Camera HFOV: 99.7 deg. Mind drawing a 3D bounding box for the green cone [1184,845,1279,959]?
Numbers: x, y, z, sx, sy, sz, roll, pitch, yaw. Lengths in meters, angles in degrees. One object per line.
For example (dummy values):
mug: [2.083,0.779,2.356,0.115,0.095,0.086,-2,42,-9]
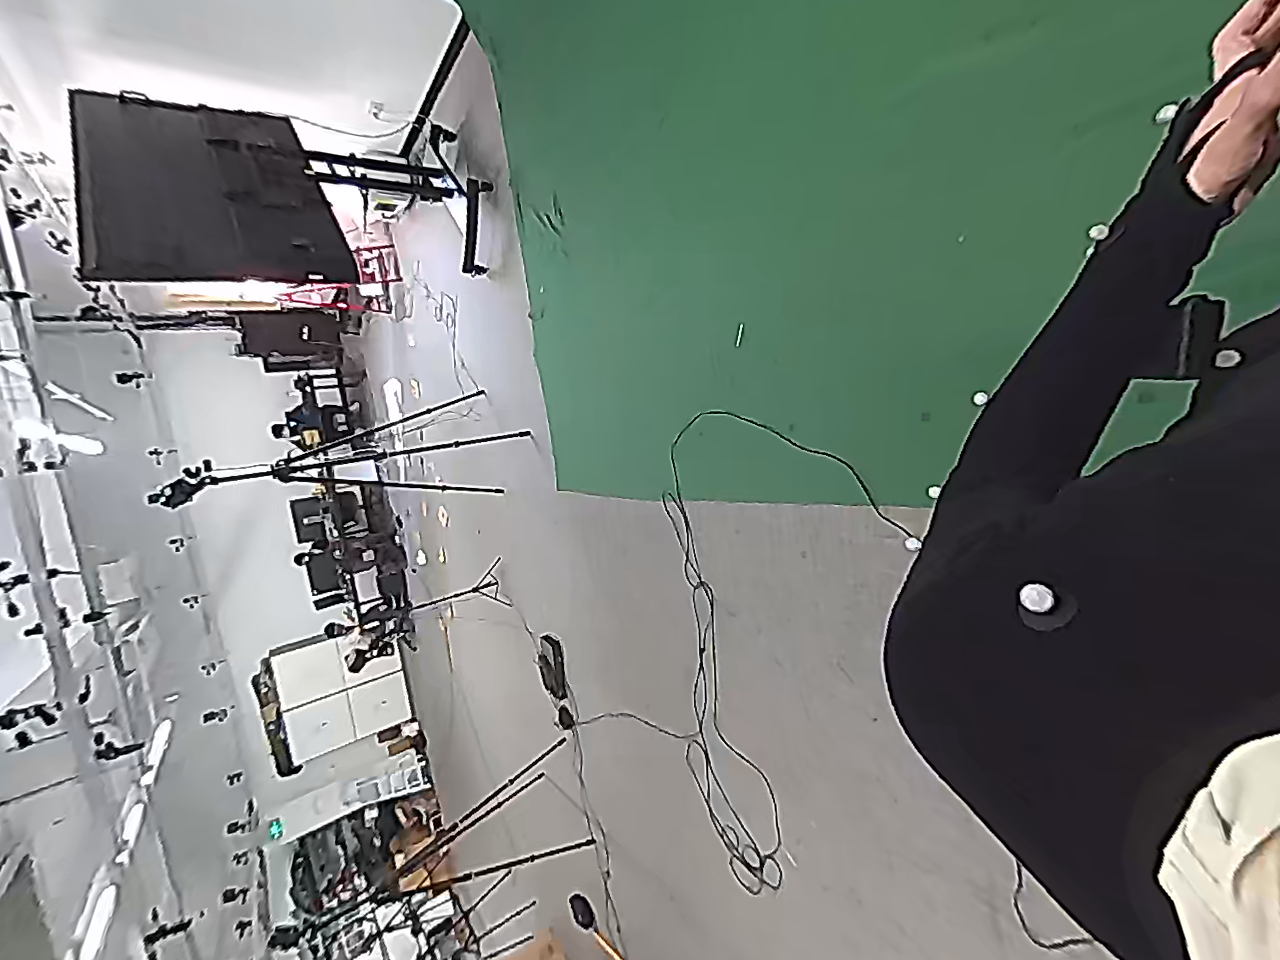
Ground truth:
green cone: [1.285,1.022,1.171,0.202,0.368,0.200,0,100,54]
